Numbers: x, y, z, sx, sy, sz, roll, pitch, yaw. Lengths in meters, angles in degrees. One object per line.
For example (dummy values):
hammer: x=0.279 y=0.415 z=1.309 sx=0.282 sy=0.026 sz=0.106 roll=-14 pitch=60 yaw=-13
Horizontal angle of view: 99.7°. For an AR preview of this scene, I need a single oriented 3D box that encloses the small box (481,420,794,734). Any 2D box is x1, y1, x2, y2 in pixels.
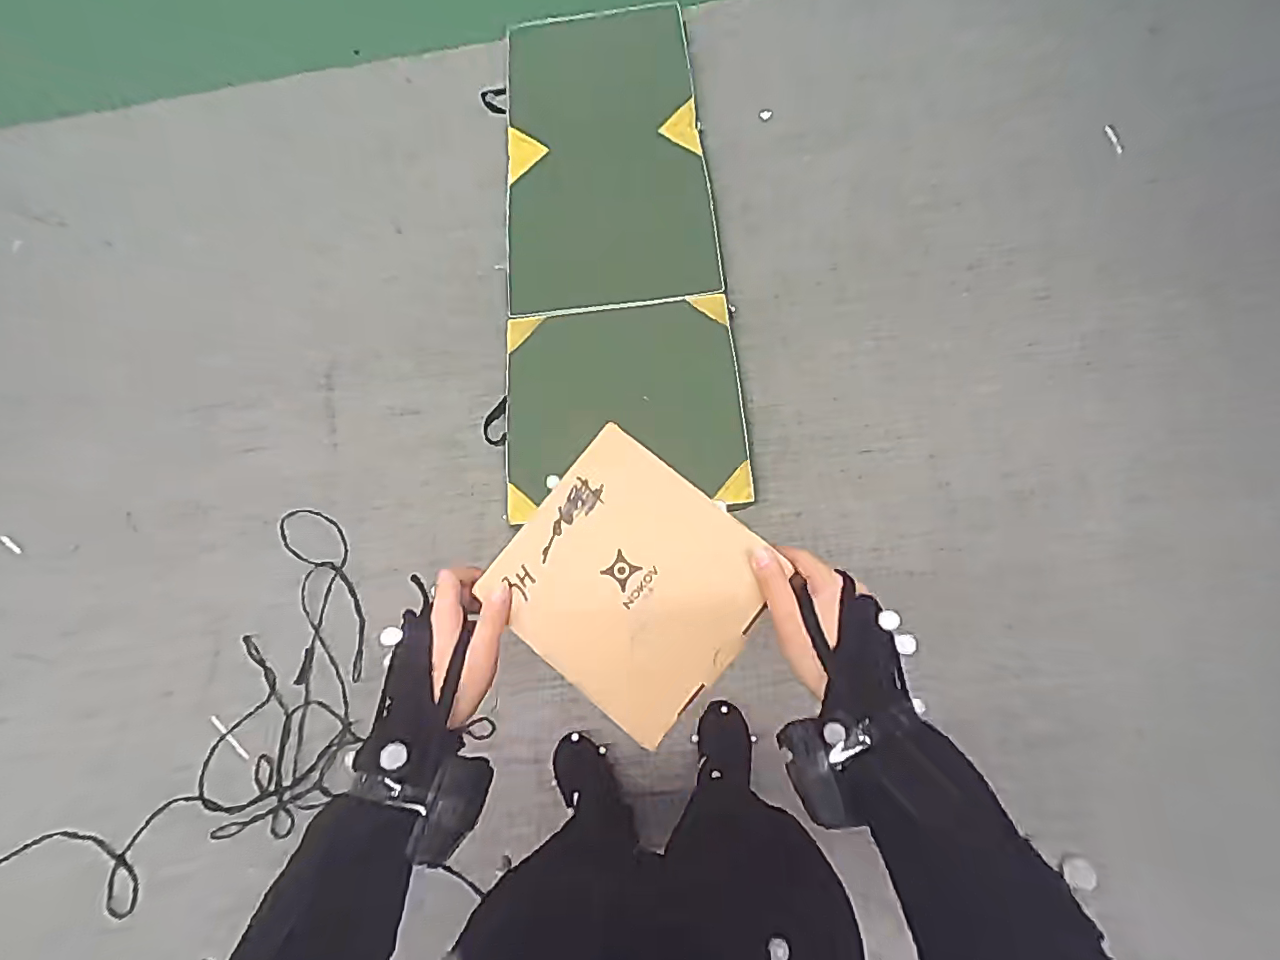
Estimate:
small box: x=0.002 y=0.077 z=0.476 sx=0.179 sy=0.176 sz=0.168 roll=38 pitch=86 yaw=9
